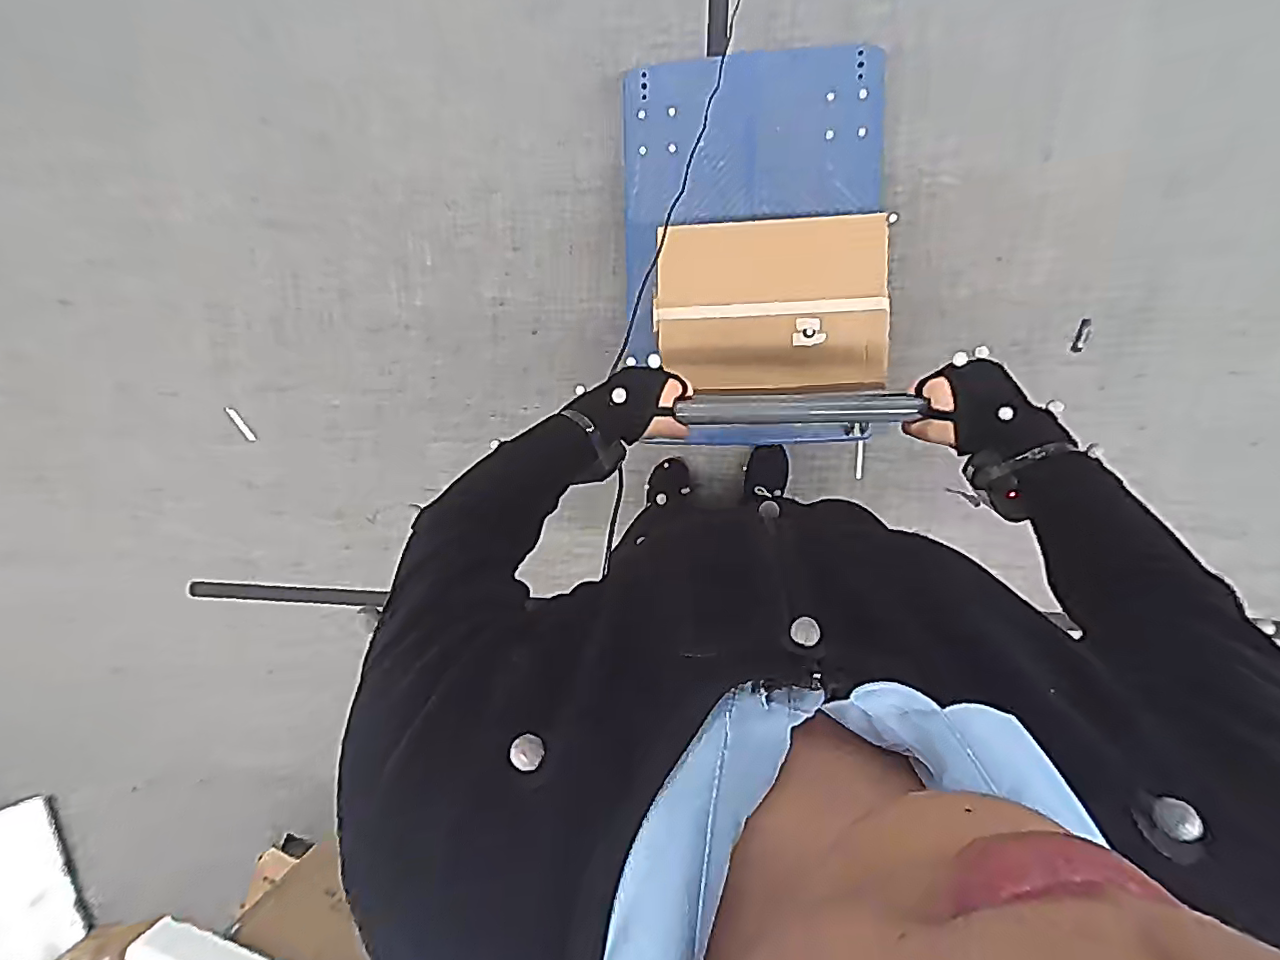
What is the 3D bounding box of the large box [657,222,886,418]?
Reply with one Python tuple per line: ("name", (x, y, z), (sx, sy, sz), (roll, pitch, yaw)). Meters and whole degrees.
("large box", (0.247, -0.298, 1.115), (0.408, 0.320, 0.320), (-1, 94, 6))
